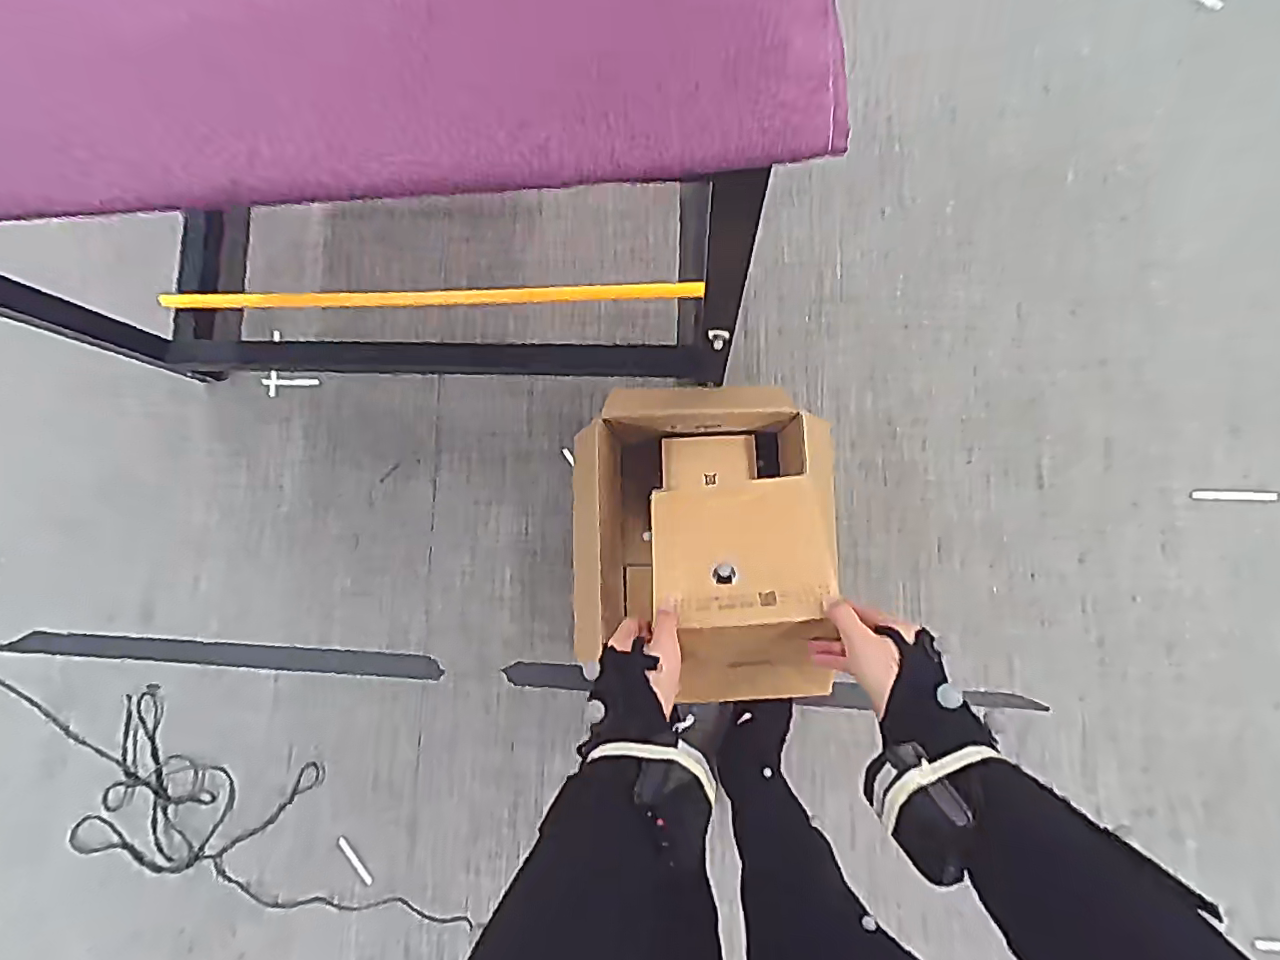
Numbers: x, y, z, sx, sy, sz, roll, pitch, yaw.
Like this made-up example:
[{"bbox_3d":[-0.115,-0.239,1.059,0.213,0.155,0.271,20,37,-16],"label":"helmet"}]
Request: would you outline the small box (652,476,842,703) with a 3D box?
[{"bbox_3d":[0.106,0.122,0.571,0.168,0.179,0.176,-7,48,8],"label":"small box"}]
